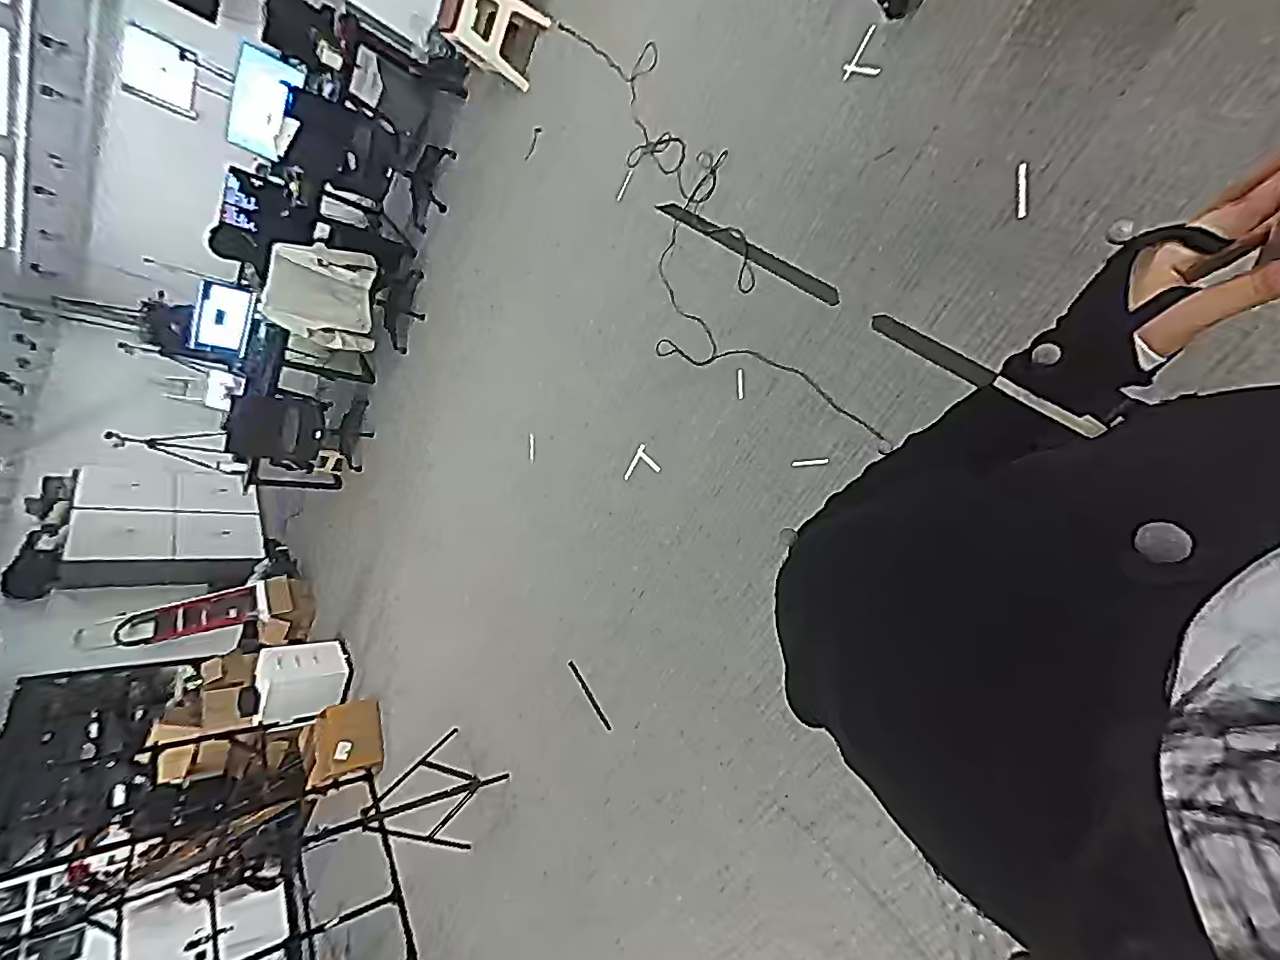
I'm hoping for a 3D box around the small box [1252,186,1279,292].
[{"bbox_3d":[0.438,-0.183,0.242,0.179,0.176,0.168,16,103,36],"label":"small box"}]
